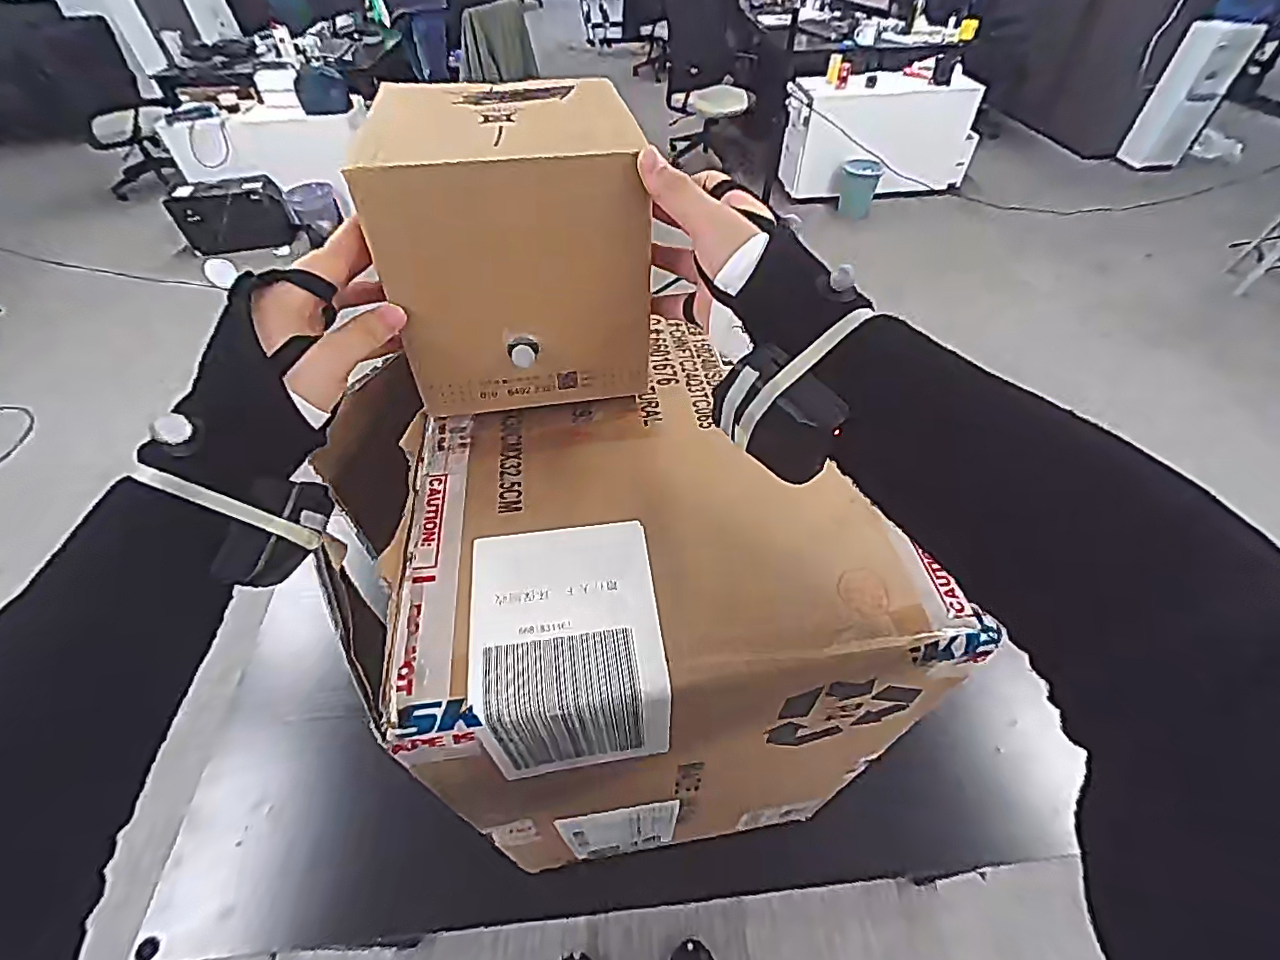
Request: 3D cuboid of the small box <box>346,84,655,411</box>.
[{"bbox_3d":[-0.087,-0.174,0.402,0.168,0.176,0.179,-8,47,-7],"label":"small box"}]
